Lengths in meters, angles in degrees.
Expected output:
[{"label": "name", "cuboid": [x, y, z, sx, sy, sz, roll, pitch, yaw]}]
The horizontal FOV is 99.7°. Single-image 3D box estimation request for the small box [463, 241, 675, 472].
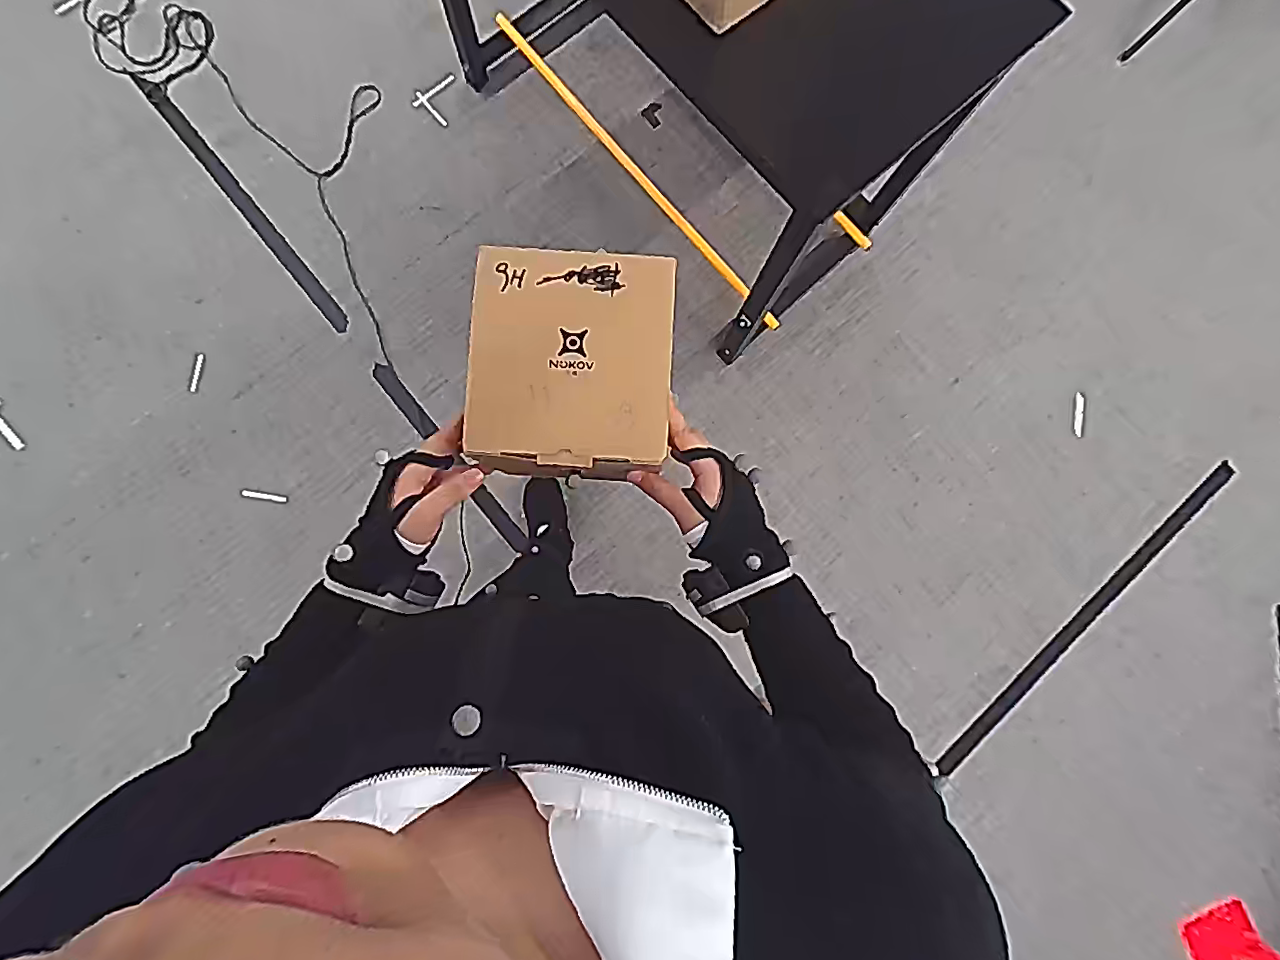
[{"label": "small box", "cuboid": [-0.058, -0.101, 0.518, 0.168, 0.176, 0.179, 3, 86, -2]}]
